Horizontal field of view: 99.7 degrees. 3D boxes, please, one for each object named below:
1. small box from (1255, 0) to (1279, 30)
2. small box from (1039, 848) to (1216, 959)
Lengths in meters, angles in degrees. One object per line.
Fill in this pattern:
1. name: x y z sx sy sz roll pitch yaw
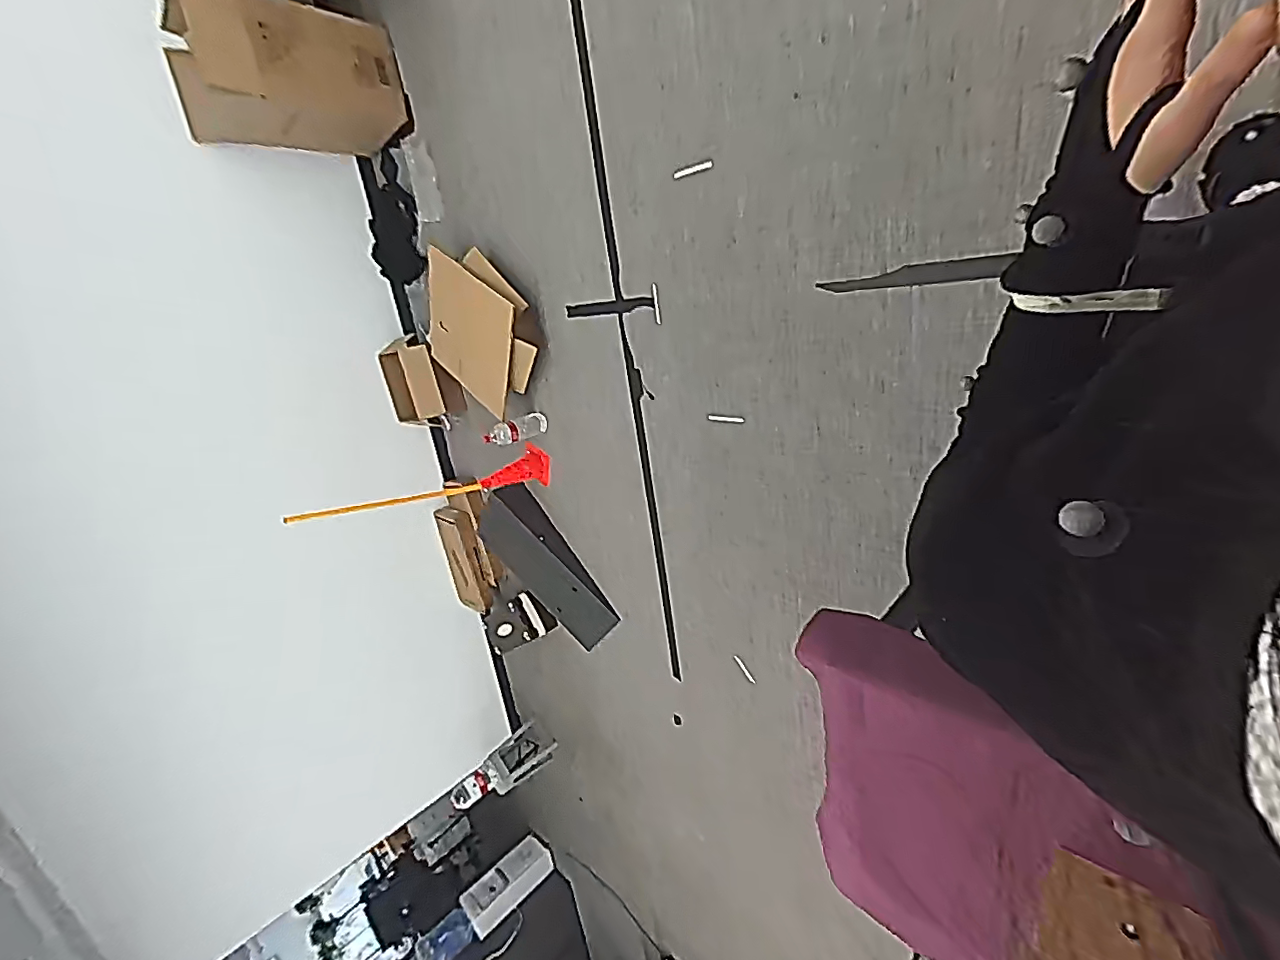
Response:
1. small box: 0.311 -0.280 0.166 0.168 0.176 0.179 -2 115 52
2. small box: 0.648 0.658 0.733 0.168 0.176 0.179 11 118 45
